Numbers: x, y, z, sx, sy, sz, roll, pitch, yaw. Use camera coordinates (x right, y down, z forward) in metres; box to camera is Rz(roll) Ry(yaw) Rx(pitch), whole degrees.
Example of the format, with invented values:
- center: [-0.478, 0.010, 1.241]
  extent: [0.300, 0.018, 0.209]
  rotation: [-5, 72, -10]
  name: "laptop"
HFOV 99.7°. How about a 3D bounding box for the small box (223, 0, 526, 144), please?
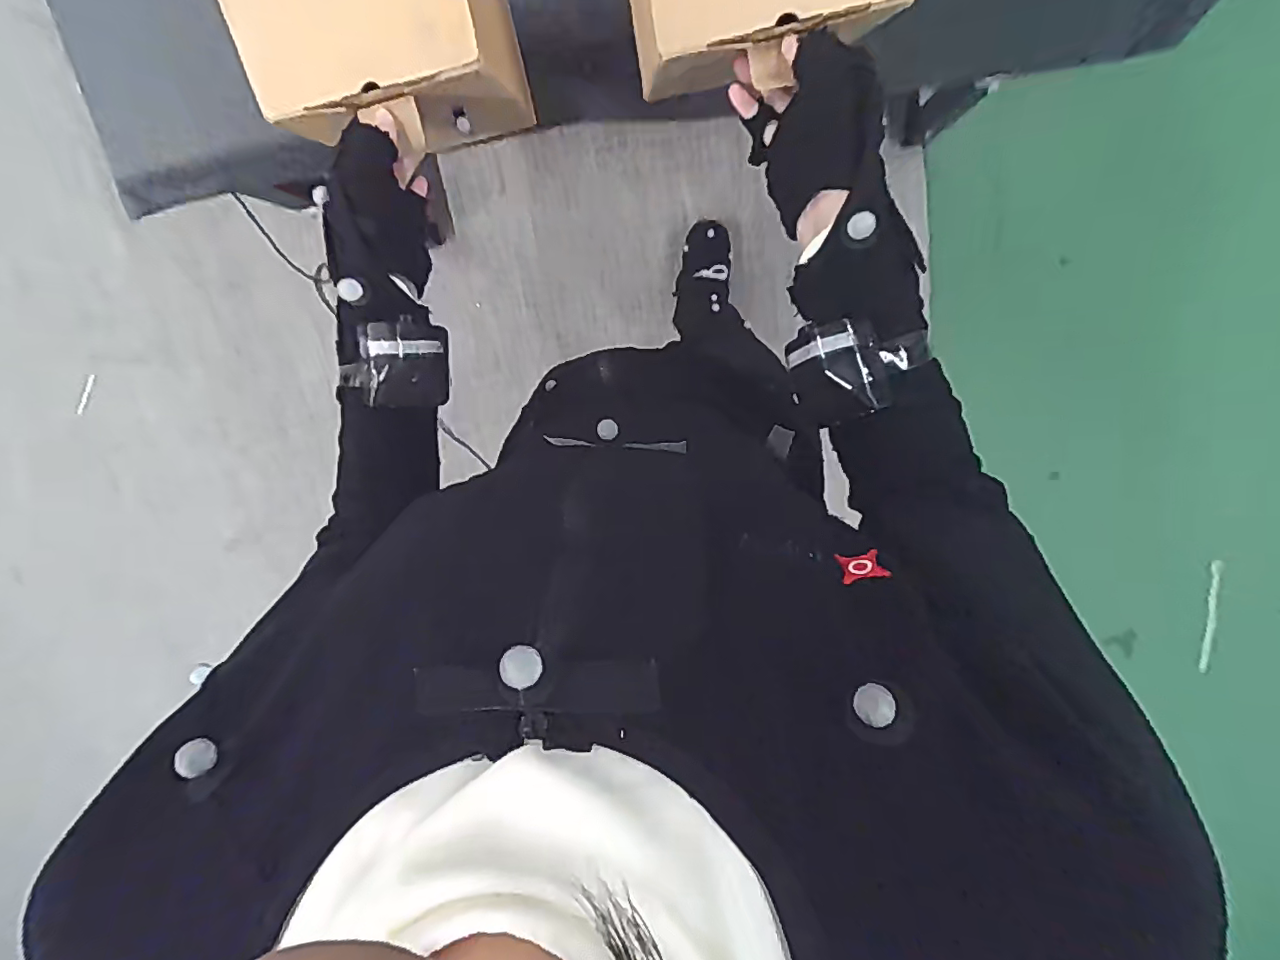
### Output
- center: [-0.202, -0.386, 0.422]
  extent: [0.168, 0.176, 0.179]
  rotation: [-11, 109, 6]
  name: "small box"
